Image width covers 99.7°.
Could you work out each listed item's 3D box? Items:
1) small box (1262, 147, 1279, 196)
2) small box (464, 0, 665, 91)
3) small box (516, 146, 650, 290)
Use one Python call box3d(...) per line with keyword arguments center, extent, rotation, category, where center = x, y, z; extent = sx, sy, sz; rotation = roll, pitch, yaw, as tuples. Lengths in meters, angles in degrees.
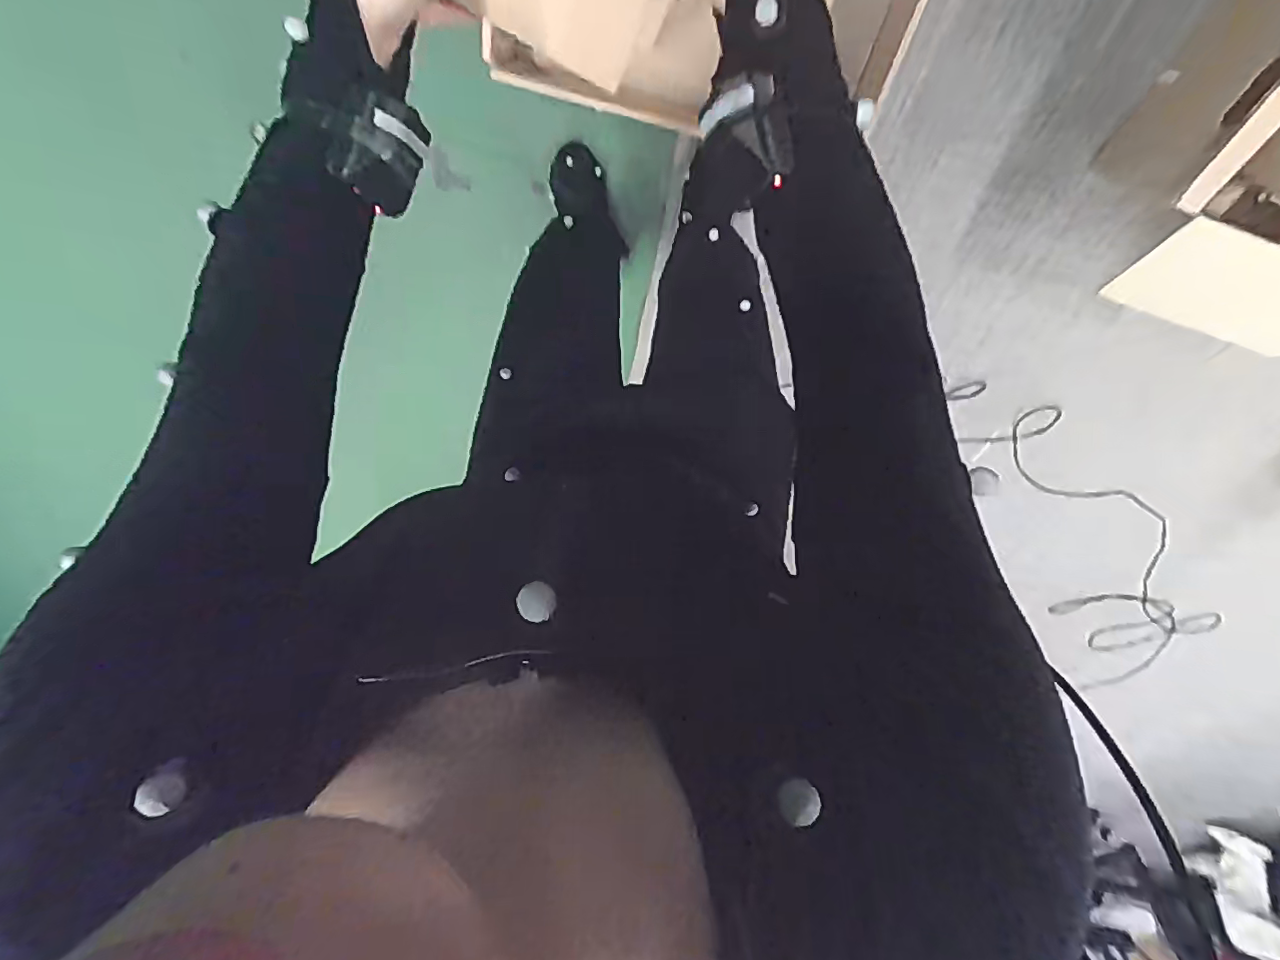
box3d(center=(1.079, -0.466, 0.775), extent=(0.168, 0.176, 0.179), rotation=(16, 131, -14), category="small box")
box3d(center=(-0.053, -0.441, 0.387), extent=(0.179, 0.176, 0.168), rotation=(16, 143, -24), category="small box")
box3d(center=(-0.104, -0.508, 1.057), extent=(0.176, 0.168, 0.179), rotation=(22, 106, -46), category="small box")
